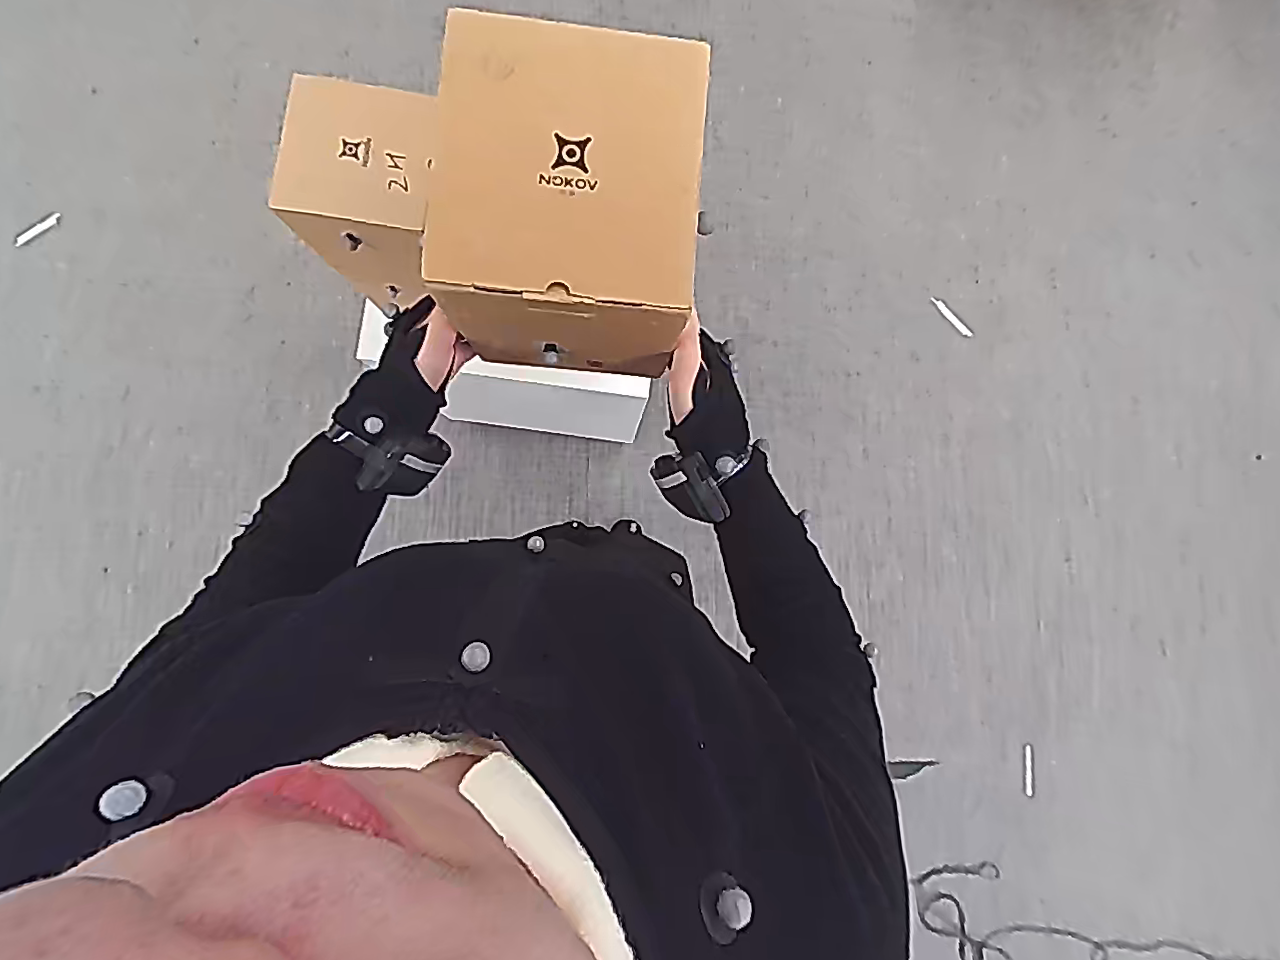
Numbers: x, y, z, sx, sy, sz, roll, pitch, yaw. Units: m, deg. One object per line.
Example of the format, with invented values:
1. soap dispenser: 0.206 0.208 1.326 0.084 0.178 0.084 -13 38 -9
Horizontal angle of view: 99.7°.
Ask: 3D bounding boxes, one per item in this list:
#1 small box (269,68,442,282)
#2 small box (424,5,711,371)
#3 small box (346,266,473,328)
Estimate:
1. small box: -0.324 -0.373 0.693 0.179 0.176 0.168 8 87 -4
2. small box: -0.049 -0.195 0.412 0.168 0.176 0.179 4 88 -4
3. small box: -0.333 -0.365 0.858 0.168 0.176 0.179 8 85 -3
